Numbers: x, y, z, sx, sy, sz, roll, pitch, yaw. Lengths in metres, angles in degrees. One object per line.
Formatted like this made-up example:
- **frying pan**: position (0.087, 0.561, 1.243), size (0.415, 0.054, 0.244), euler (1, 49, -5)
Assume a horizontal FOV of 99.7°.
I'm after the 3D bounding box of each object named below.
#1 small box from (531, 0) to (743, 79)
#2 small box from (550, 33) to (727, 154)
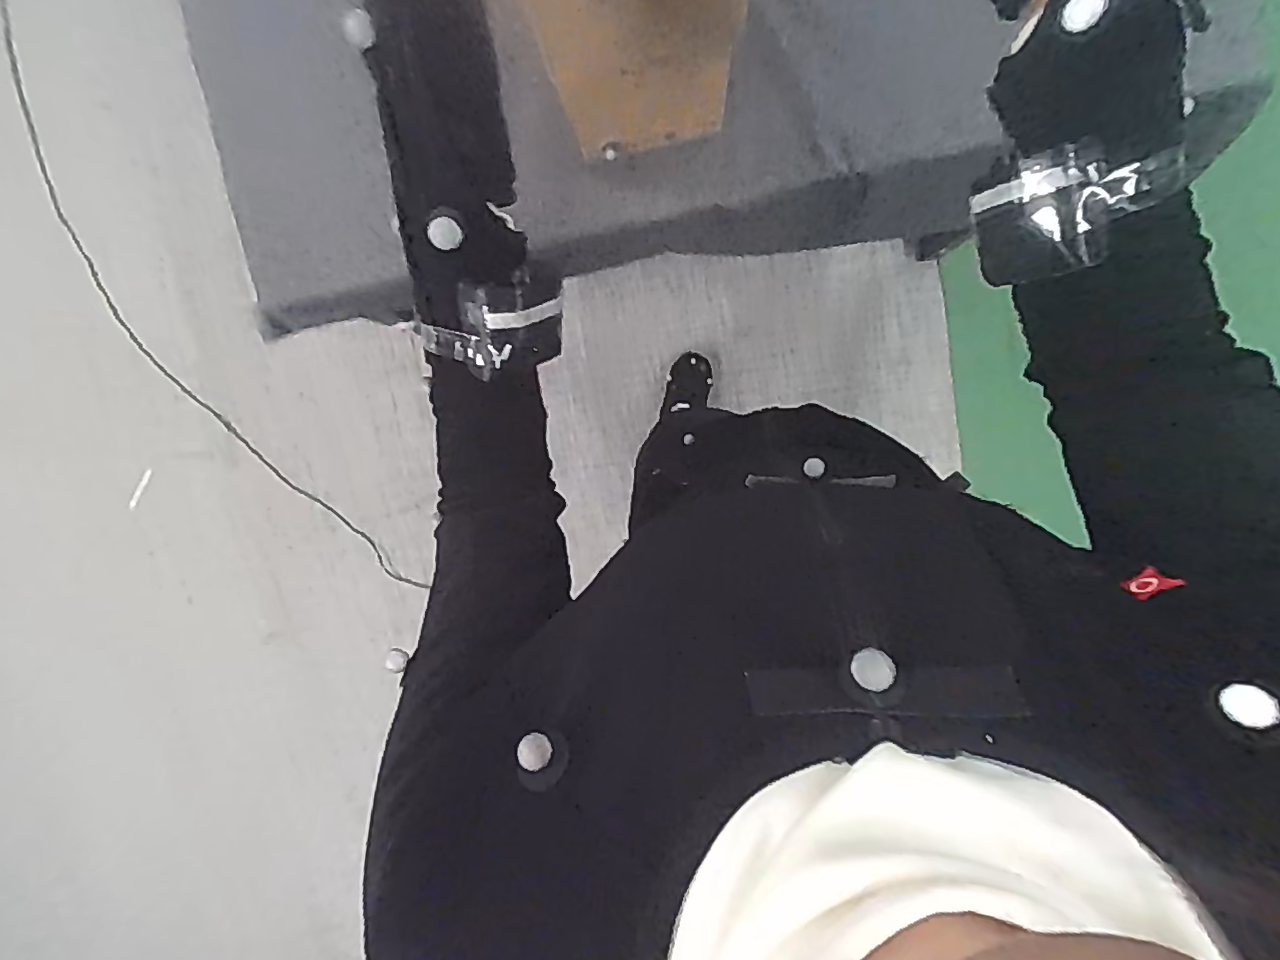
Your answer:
- **small box**: position (-0.015, -0.450, 0.405), size (0.179, 0.176, 0.168), euler (-13, 94, 5)
- **small box**: position (-0.006, -0.472, 0.564), size (0.168, 0.176, 0.179), euler (-10, 94, 6)
